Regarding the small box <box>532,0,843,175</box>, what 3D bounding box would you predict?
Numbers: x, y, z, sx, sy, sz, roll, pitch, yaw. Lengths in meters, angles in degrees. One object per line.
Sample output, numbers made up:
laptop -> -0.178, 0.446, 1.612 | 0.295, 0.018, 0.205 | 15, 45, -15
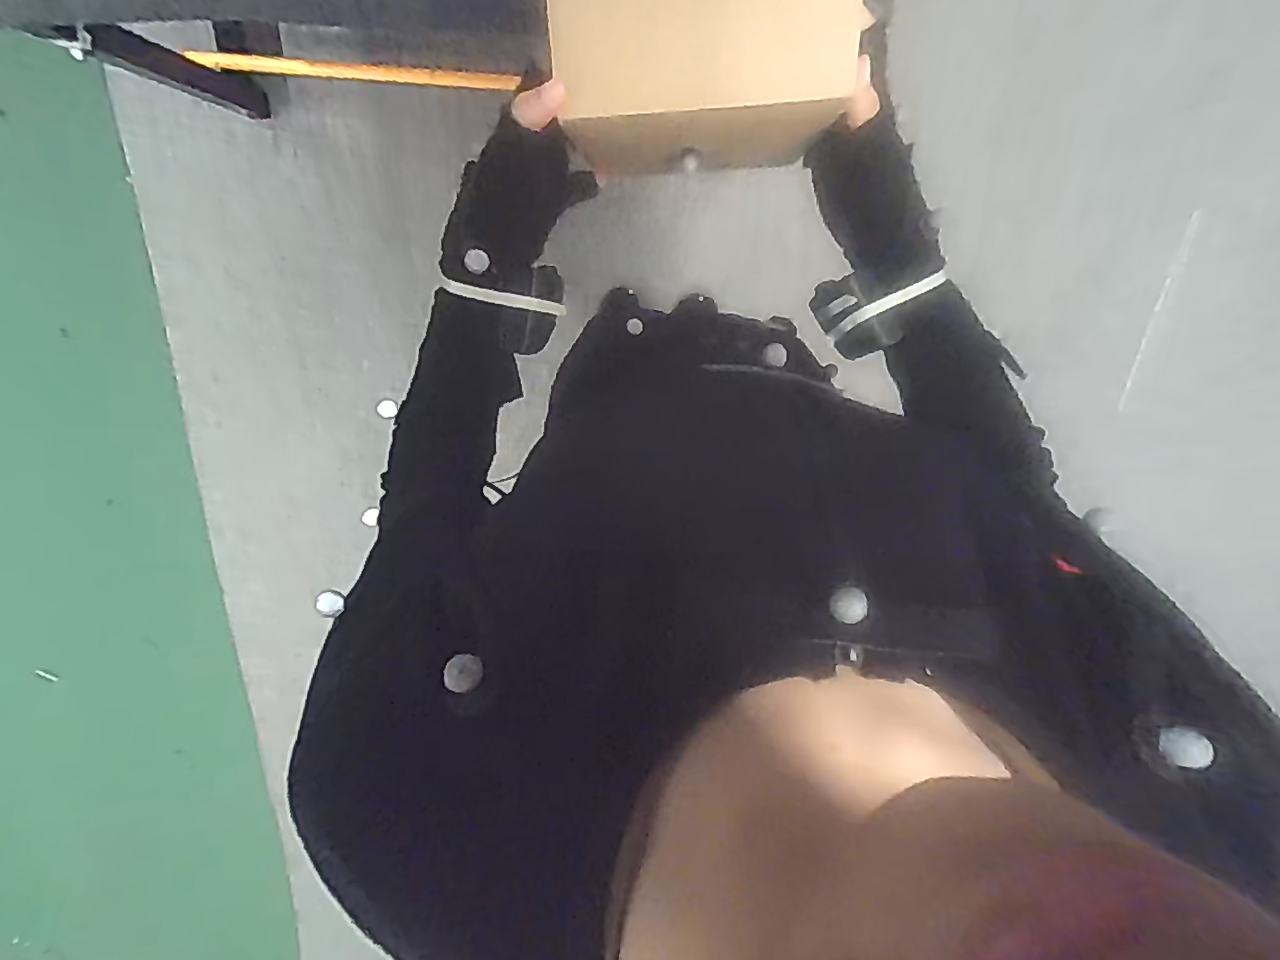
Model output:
small box -> 0.029, -0.309, 0.347 | 0.168, 0.176, 0.179 | -1, 108, 4
